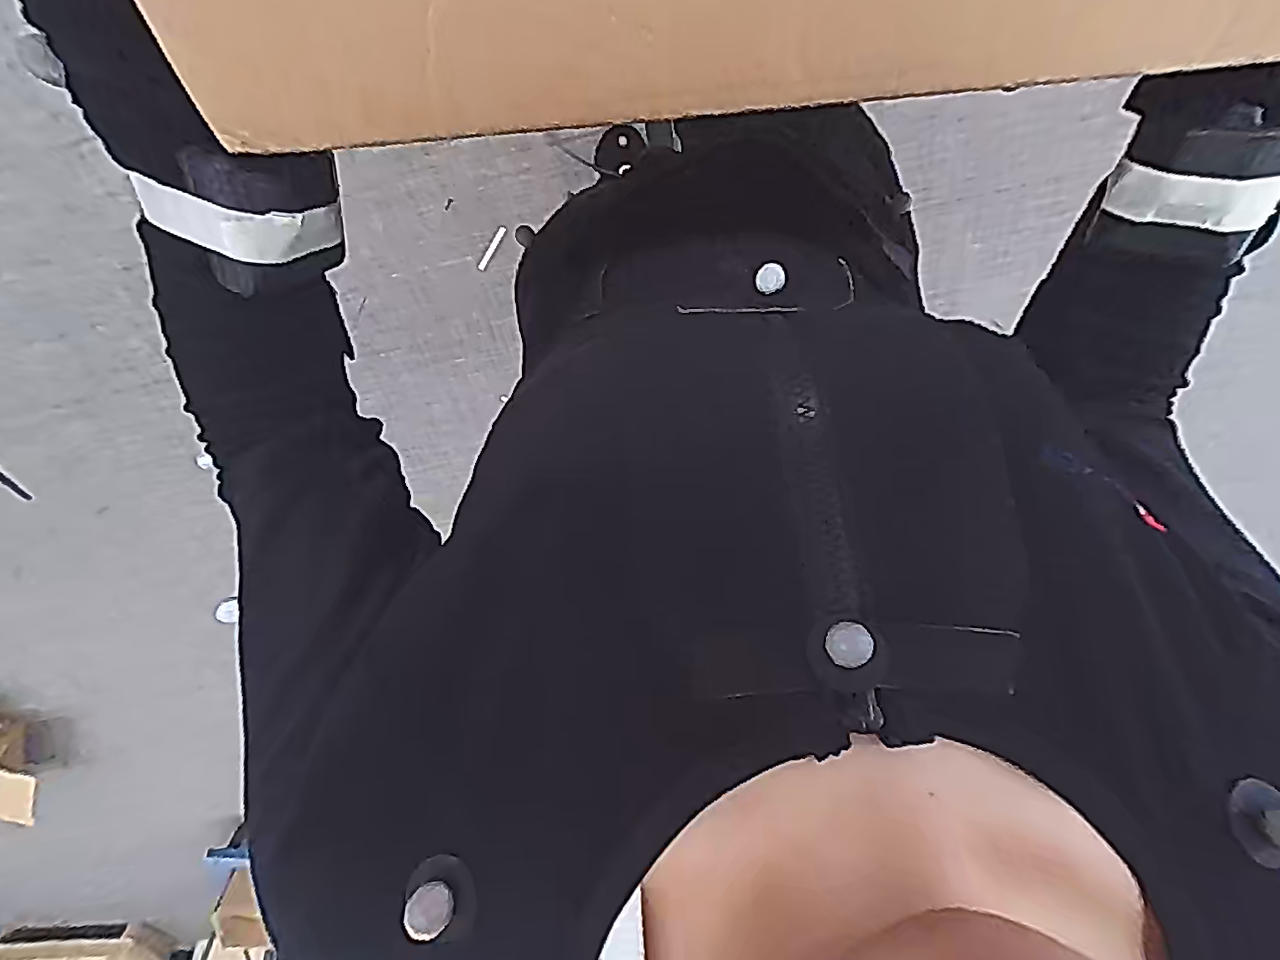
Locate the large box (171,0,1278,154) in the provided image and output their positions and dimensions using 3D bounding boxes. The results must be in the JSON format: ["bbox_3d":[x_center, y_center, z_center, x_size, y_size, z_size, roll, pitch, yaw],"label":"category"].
[{"bbox_3d":[0.024,-0.361,0.194,0.408,0.320,0.320,-5,139,0],"label":"large box"}]
